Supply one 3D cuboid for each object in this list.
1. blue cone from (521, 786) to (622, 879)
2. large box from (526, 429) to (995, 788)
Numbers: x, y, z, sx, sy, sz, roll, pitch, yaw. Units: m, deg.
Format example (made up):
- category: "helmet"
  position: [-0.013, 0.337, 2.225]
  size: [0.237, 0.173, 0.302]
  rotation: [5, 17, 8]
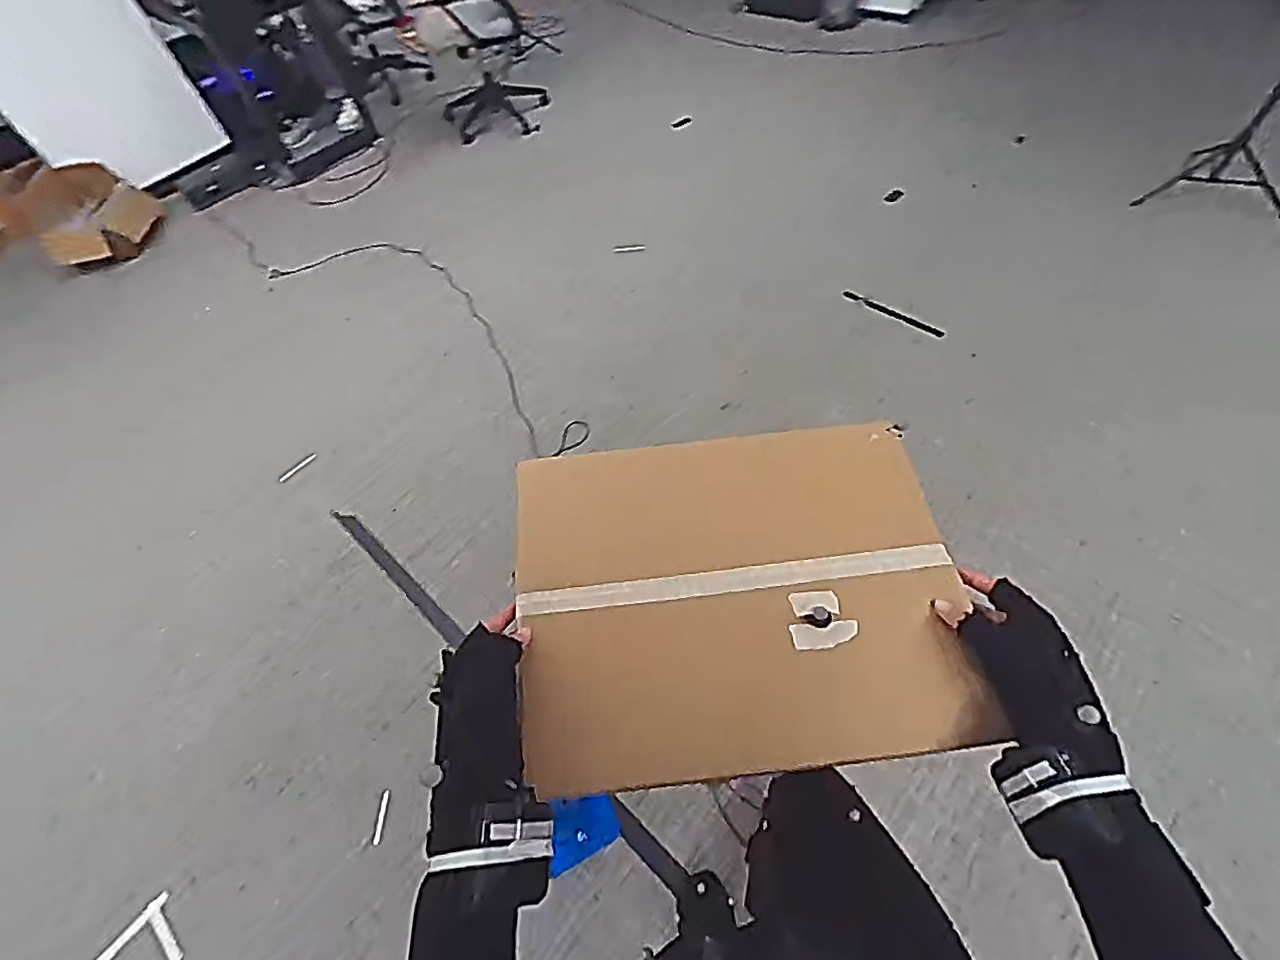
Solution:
- category: "blue cone"
  position: [-0.178, 0.702, 1.130]
  size: [0.193, 0.380, 0.192]
  rotation: [-27, 58, -8]
- category: "large box"
  position: [0.092, 0.170, 0.650]
  size: [0.408, 0.320, 0.320]
  rotation: [-6, 61, -1]
